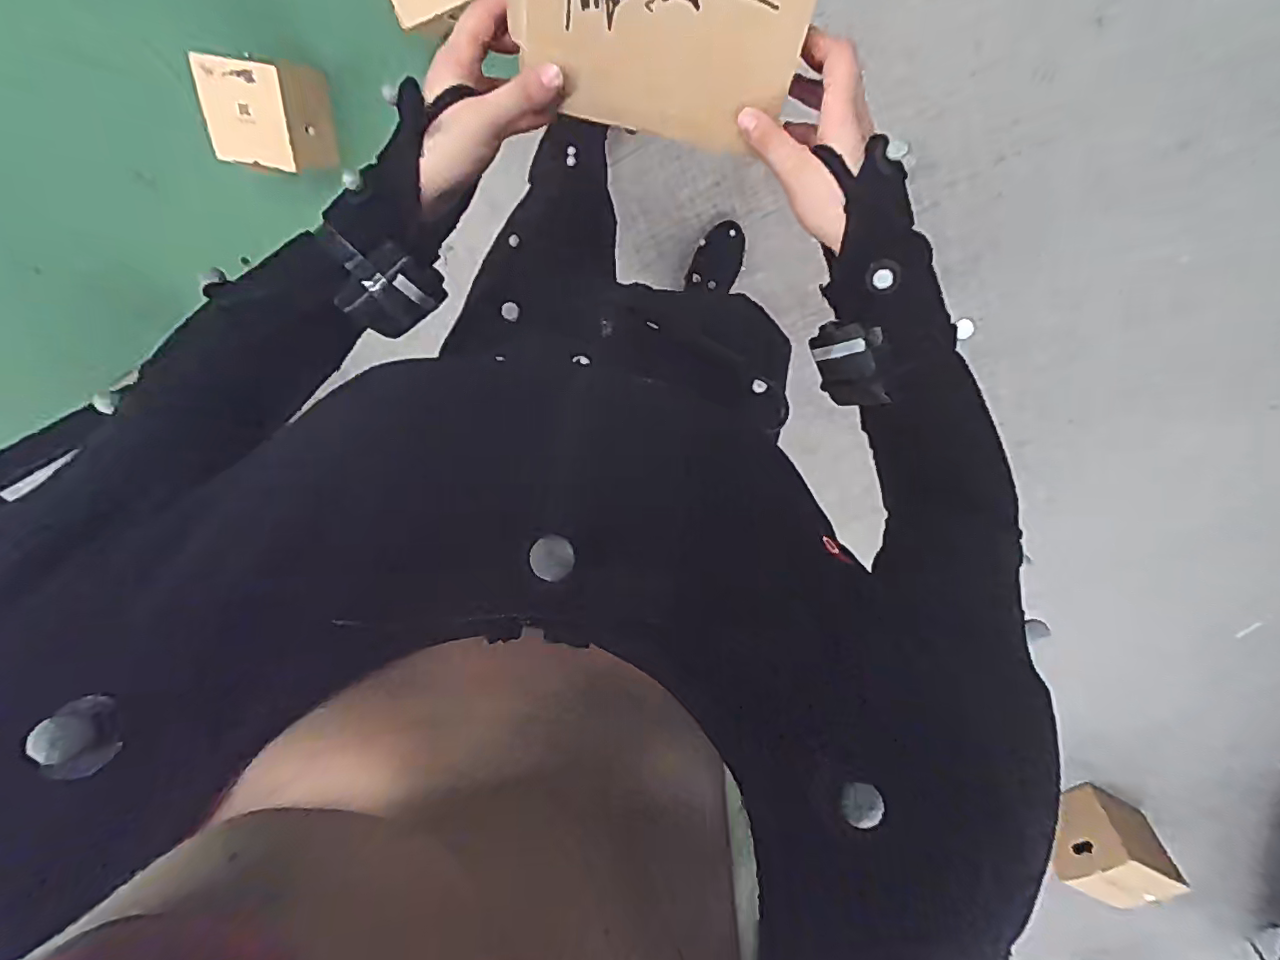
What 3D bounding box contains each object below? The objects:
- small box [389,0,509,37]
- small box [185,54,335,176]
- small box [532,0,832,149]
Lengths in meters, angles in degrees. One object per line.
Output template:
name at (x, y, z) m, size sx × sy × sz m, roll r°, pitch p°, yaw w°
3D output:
small box at (-0.350, -0.906, 0.941) m, size 0.179 × 0.176 × 0.168 m, roll -13°, pitch 124°, yaw 12°
small box at (-0.750, -0.737, 1.094) m, size 0.168 × 0.176 × 0.179 m, roll 9°, pitch 126°, yaw -1°
small box at (0.035, -0.356, 0.364) m, size 0.179 × 0.176 × 0.168 m, roll 10°, pitch 137°, yaw -5°
